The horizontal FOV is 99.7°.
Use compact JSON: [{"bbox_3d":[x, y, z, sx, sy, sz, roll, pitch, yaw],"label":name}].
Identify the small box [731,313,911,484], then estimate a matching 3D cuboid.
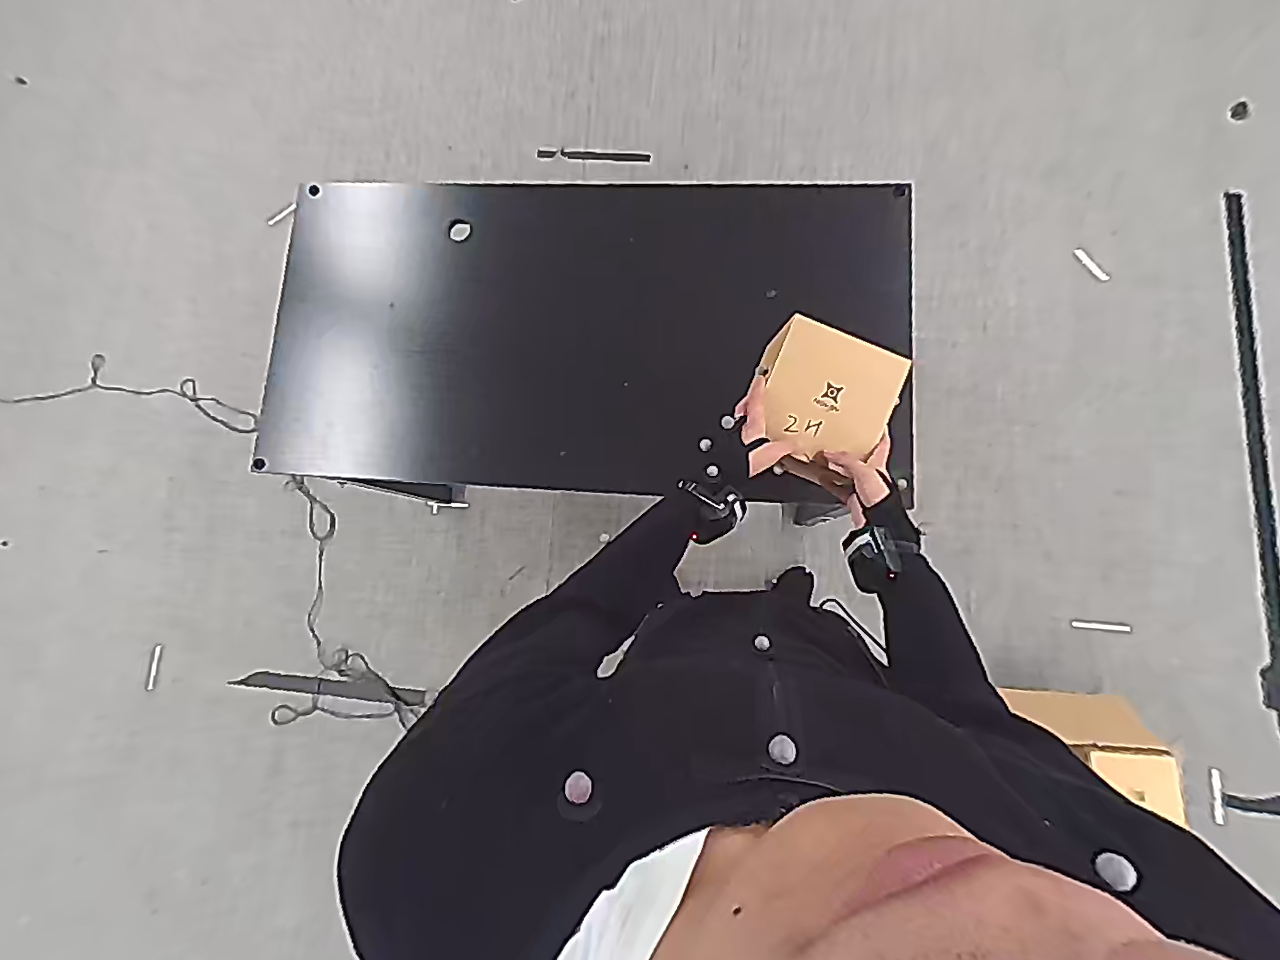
[{"bbox_3d":[0.242,-0.105,0.774,0.168,0.176,0.179,23,90,1],"label":"small box"}]
